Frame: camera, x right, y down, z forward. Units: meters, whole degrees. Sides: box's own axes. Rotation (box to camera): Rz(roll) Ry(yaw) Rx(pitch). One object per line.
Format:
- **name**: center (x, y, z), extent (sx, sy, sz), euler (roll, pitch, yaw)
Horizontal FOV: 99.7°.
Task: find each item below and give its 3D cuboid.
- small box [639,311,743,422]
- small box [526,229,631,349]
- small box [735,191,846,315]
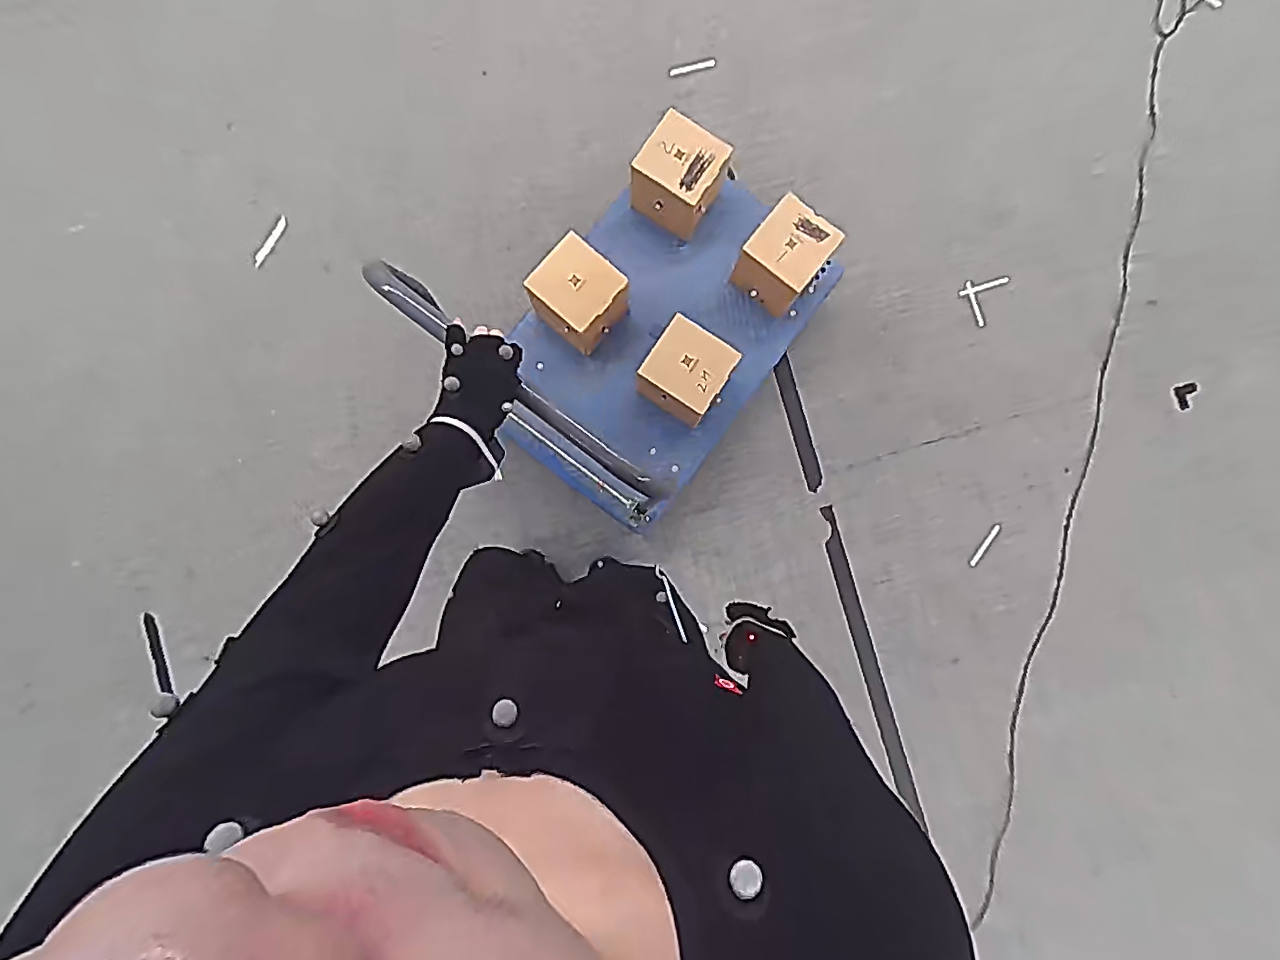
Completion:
- **small box**: center (0.110, -0.254, 1.263), extent (0.179, 0.176, 0.168), euler (34, 86, 1)
- **small box**: center (-0.139, -0.438, 1.271), extent (0.179, 0.176, 0.168), euler (41, 86, 0)
- **small box**: center (0.347, -0.532, 1.289), extent (0.168, 0.176, 0.179), euler (39, 87, 1)
